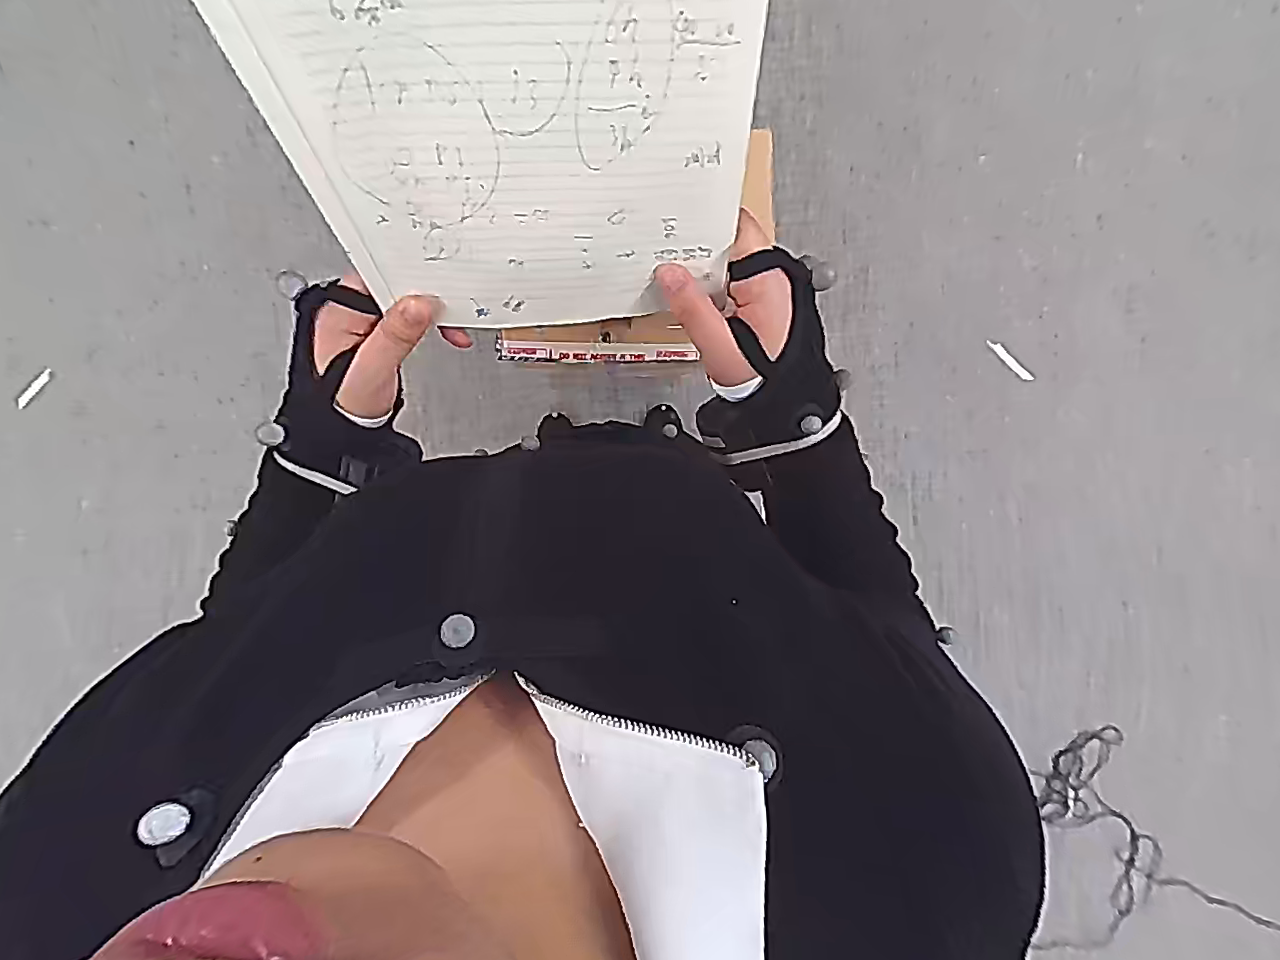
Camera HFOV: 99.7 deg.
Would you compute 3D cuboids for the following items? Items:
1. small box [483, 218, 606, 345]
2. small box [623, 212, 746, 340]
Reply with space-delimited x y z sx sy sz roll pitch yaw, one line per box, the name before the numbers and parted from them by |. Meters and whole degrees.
small box | -0.149 -0.316 0.892 0.179 0.176 0.168 3 99 0
small box | 0.067 -0.328 0.898 0.179 0.176 0.168 -5 99 -2
